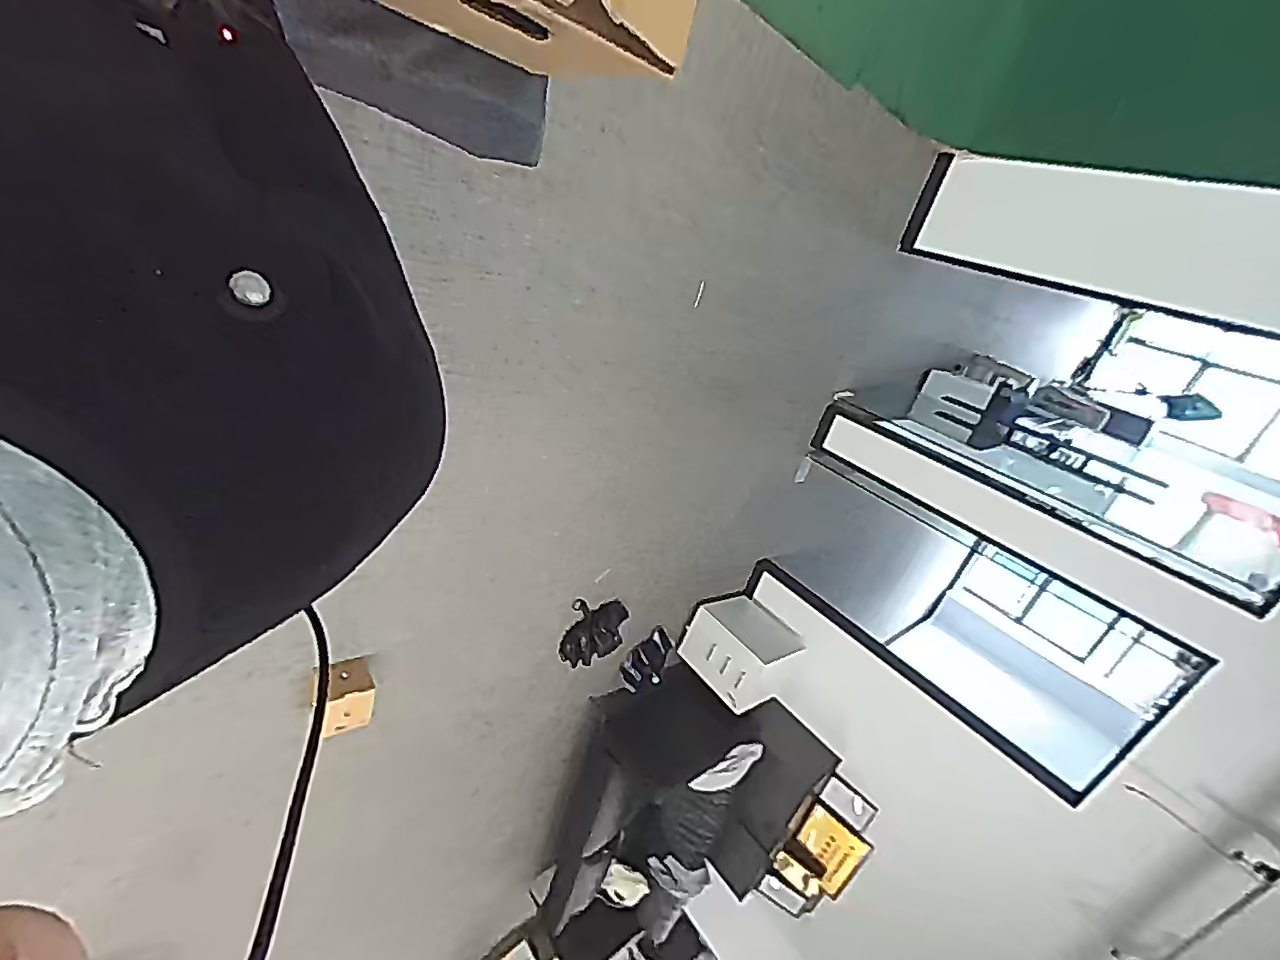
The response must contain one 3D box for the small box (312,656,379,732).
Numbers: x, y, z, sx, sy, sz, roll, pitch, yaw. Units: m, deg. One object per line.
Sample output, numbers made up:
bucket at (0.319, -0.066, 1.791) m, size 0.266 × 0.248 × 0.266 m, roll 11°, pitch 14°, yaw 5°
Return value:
small box at (-1.066, 0.760, 1.949) m, size 0.168 × 0.176 × 0.179 m, roll -3°, pitch 121°, yaw -45°
